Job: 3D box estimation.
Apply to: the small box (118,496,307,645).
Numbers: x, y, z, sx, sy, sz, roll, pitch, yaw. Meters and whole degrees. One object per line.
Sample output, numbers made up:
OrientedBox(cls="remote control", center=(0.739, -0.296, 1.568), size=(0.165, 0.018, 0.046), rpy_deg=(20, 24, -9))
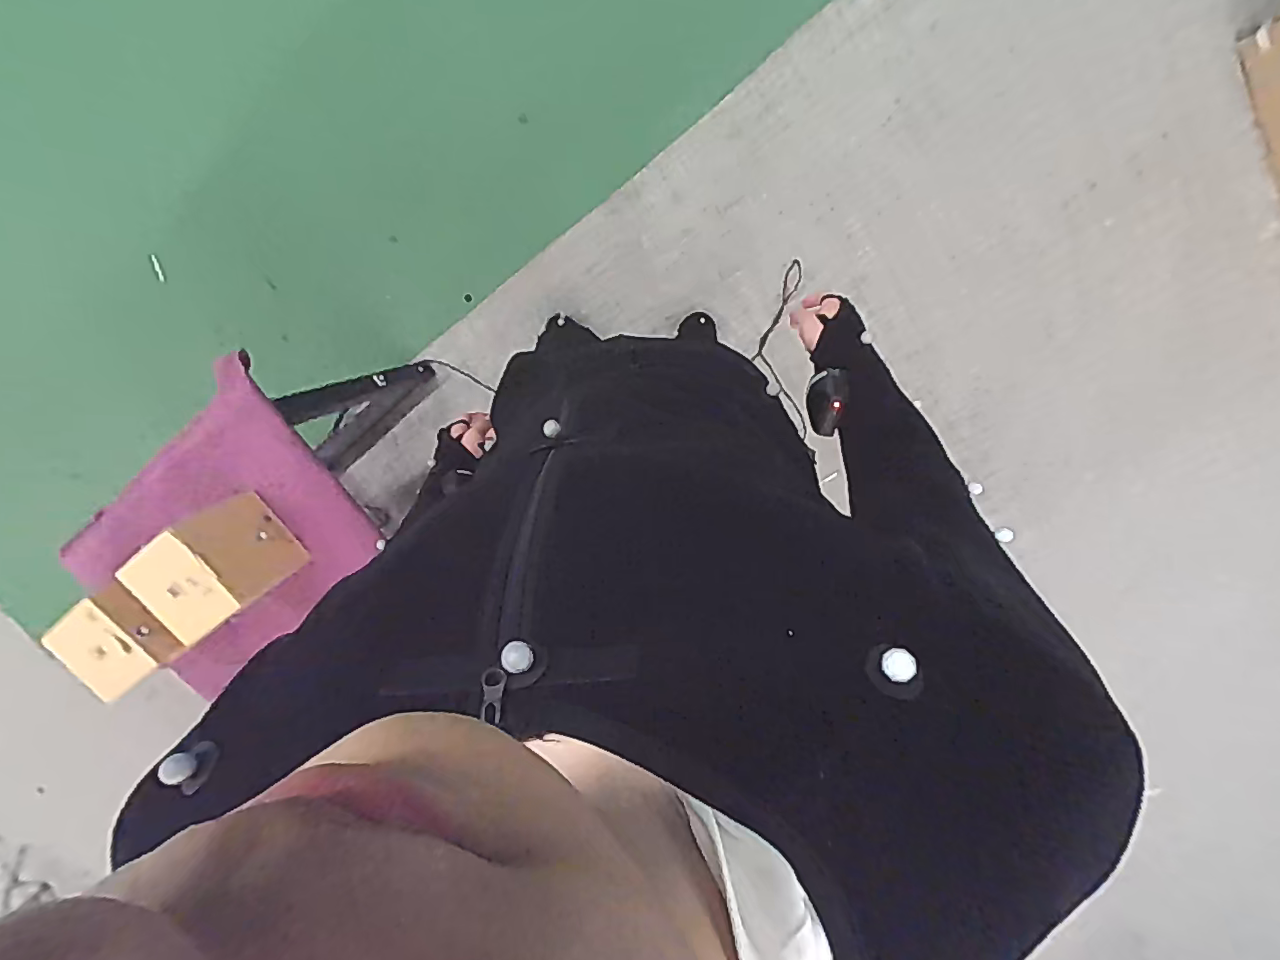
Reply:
OrientedBox(cls="small box", center=(-0.756, 0.157, 0.975), size=(0.179, 0.176, 0.168), rpy_deg=(-31, 103, 19))

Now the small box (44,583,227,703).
OrientedBox(cls="small box", center=(-0.968, 0.289, 1.055), size=(0.179, 0.176, 0.168), rpy_deg=(-33, 102, 17))
